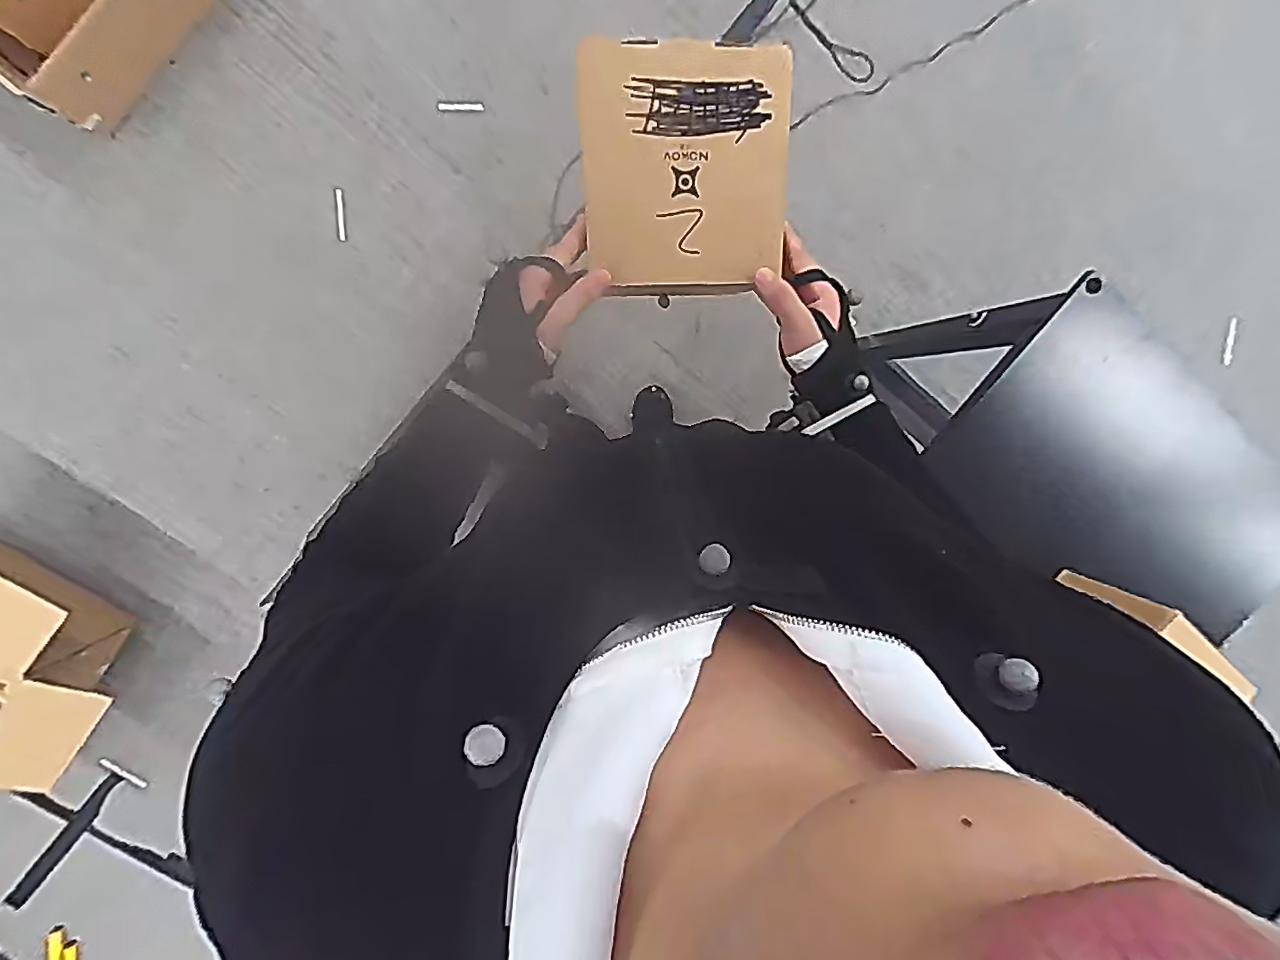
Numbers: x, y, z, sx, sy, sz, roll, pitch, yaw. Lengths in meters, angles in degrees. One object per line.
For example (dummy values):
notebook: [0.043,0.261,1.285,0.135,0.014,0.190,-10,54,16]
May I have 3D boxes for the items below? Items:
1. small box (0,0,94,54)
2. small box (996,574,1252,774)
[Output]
small box: [-1.301,-1.040,1.106,0.168,0.176,0.179,41,92,-12]
small box: [0.671,0.261,0.771,0.179,0.176,0.168,40,94,-9]
